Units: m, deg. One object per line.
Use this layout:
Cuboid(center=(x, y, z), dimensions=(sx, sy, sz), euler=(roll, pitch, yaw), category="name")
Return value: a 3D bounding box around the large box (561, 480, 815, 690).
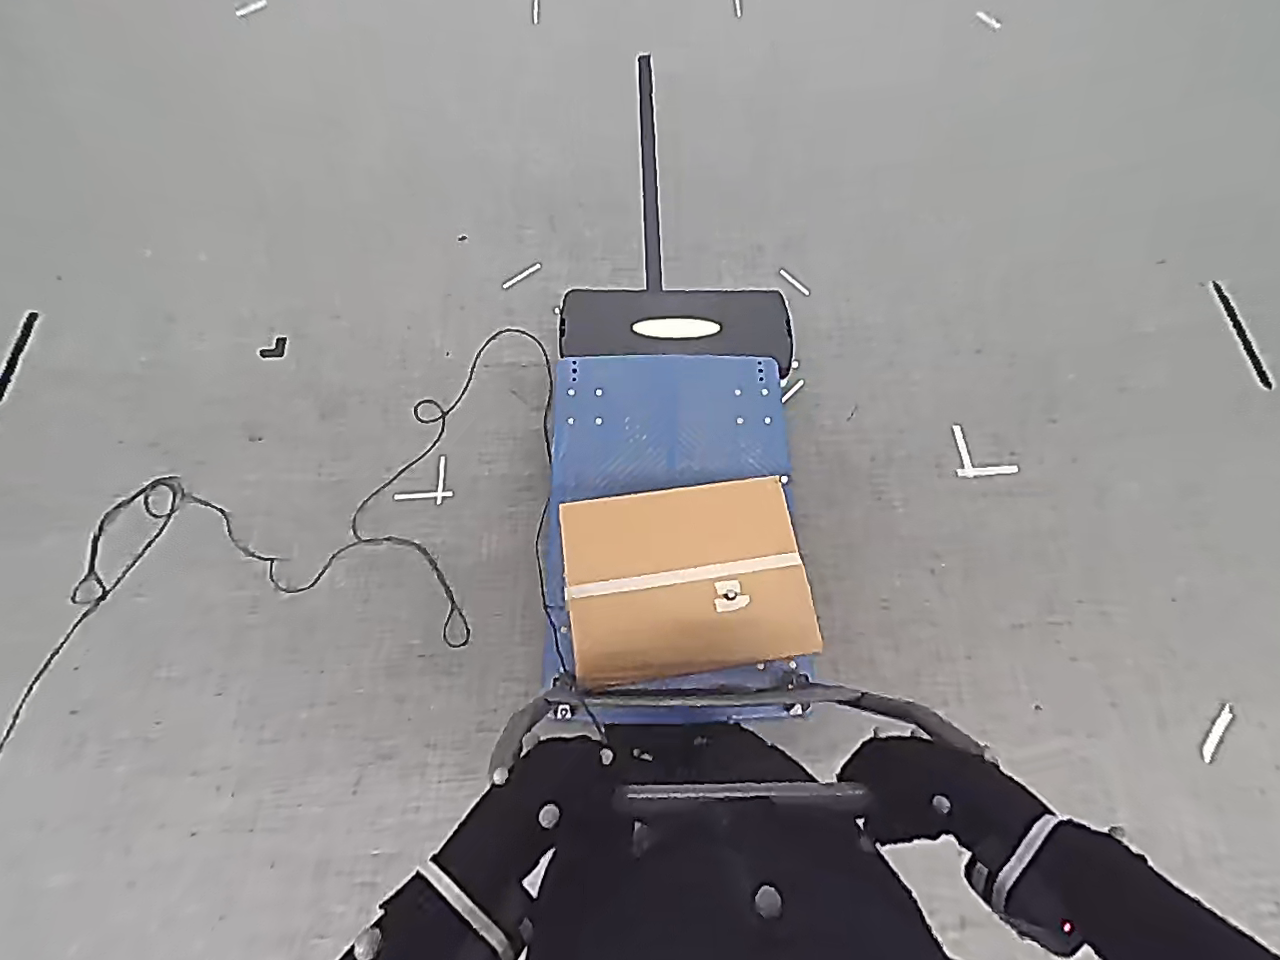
Cuboid(center=(0.070, 0.222, 1.078), dimensions=(0.408, 0.320, 0.320), euler=(-7, 71, -5), category="large box")
